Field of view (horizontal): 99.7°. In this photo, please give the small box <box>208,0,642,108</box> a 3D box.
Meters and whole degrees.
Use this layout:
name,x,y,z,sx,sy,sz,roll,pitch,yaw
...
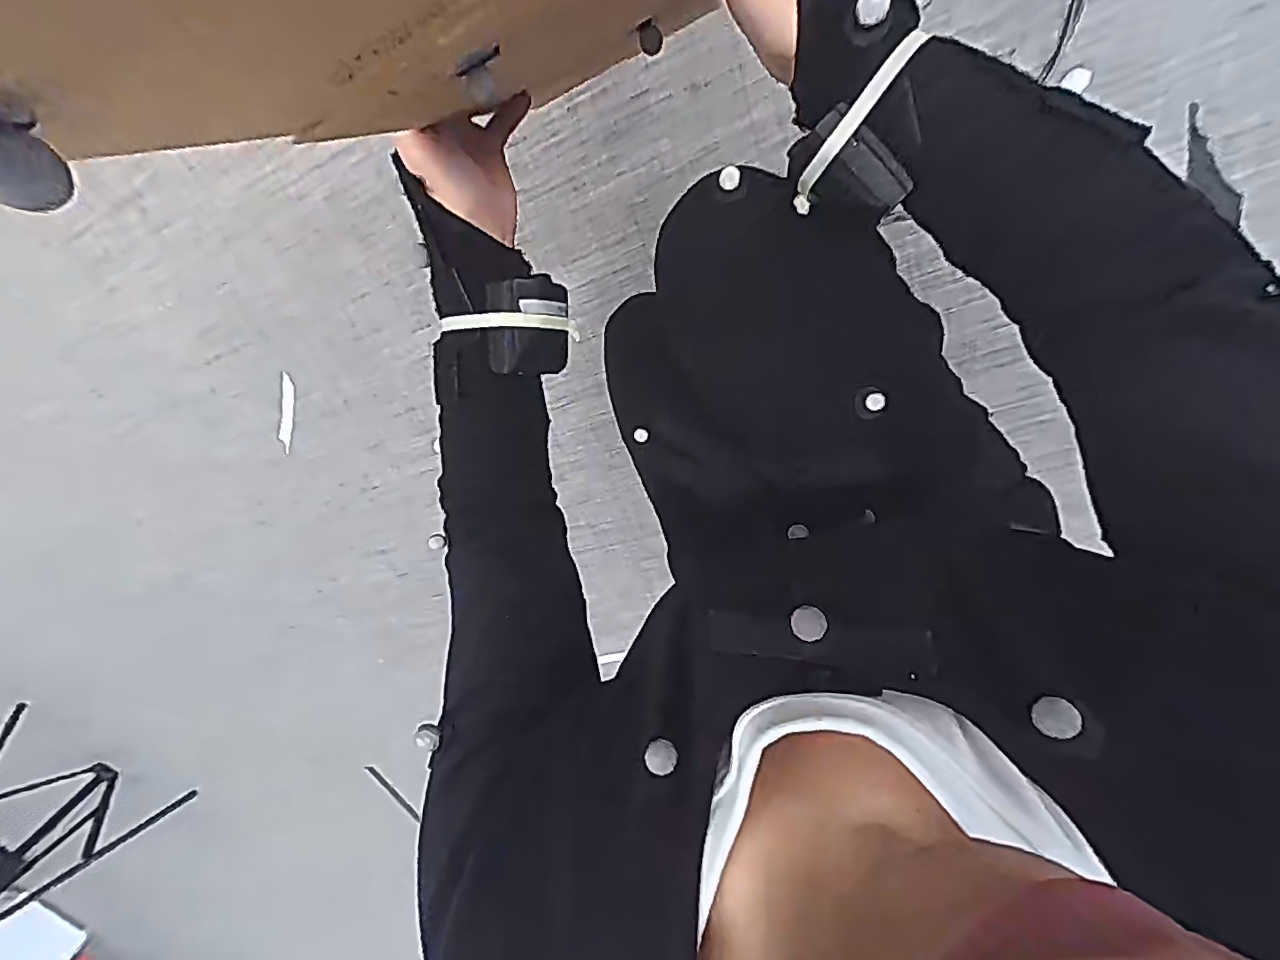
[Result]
name,x,y,z,sx,sy,sz,roll,pitch,yaw
small box,-0.078,-0.269,0.205,0.179,0.176,0.168,-14,122,20

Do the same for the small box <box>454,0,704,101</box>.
name,x,y,z,sx,sy,sz,roll,pitch,yaw
small box,-0.055,-0.367,0.334,0.179,0.176,0.168,-13,121,21
